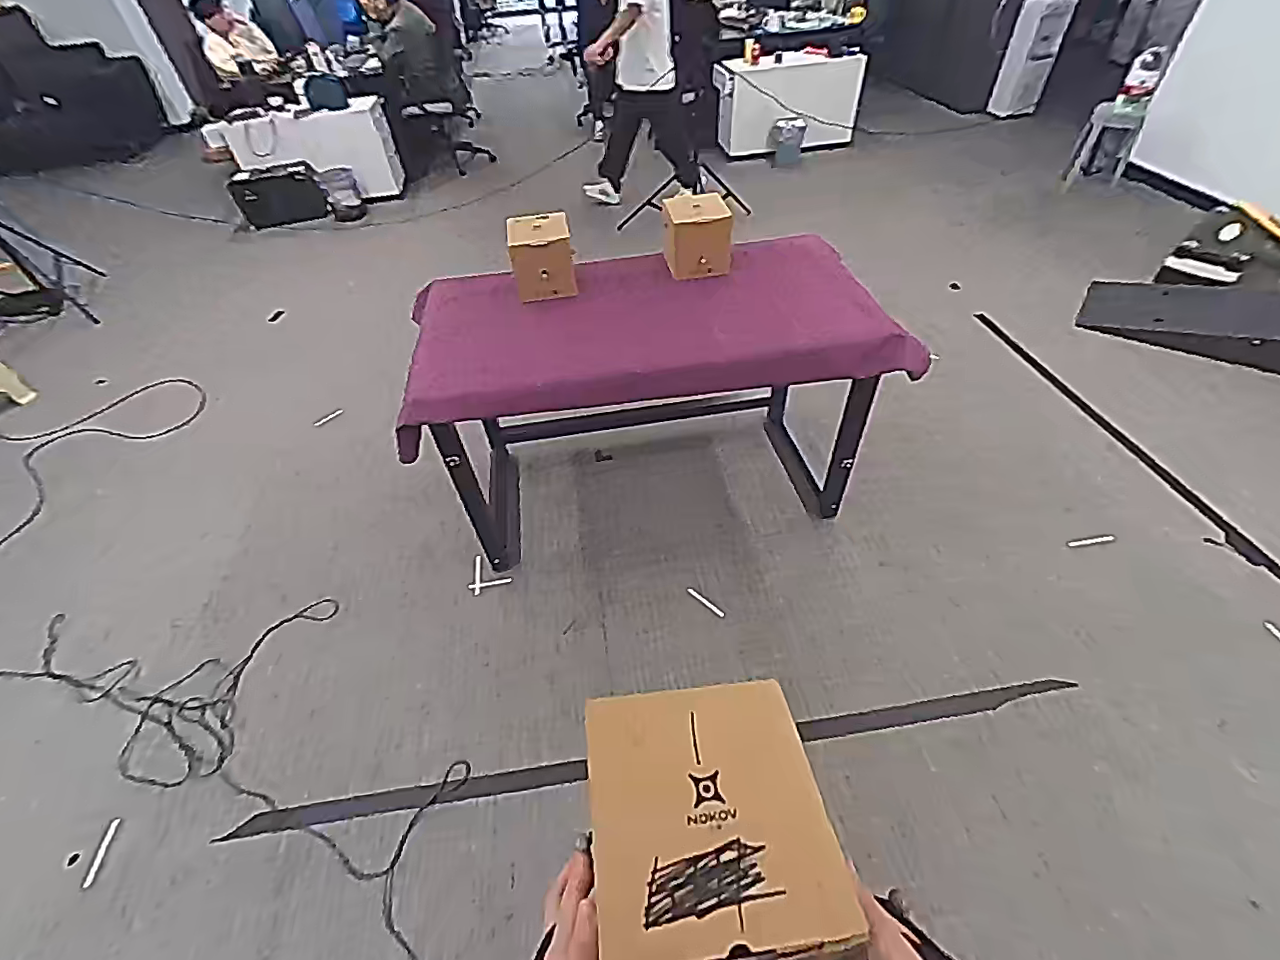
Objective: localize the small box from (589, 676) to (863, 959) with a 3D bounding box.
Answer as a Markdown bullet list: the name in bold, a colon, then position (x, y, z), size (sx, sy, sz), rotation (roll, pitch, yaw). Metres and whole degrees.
- **small box**: position (0.047, 0.288, 0.436), size (0.168, 0.176, 0.179), rotation (-3, 38, -7)

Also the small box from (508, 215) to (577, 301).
- **small box**: position (-0.276, -0.626, 1.542), size (0.168, 0.176, 0.179), rotation (-9, 49, -4)

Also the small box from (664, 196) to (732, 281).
- **small box**: position (0.163, -0.705, 1.580), size (0.168, 0.176, 0.179), rotation (-9, 48, -3)
